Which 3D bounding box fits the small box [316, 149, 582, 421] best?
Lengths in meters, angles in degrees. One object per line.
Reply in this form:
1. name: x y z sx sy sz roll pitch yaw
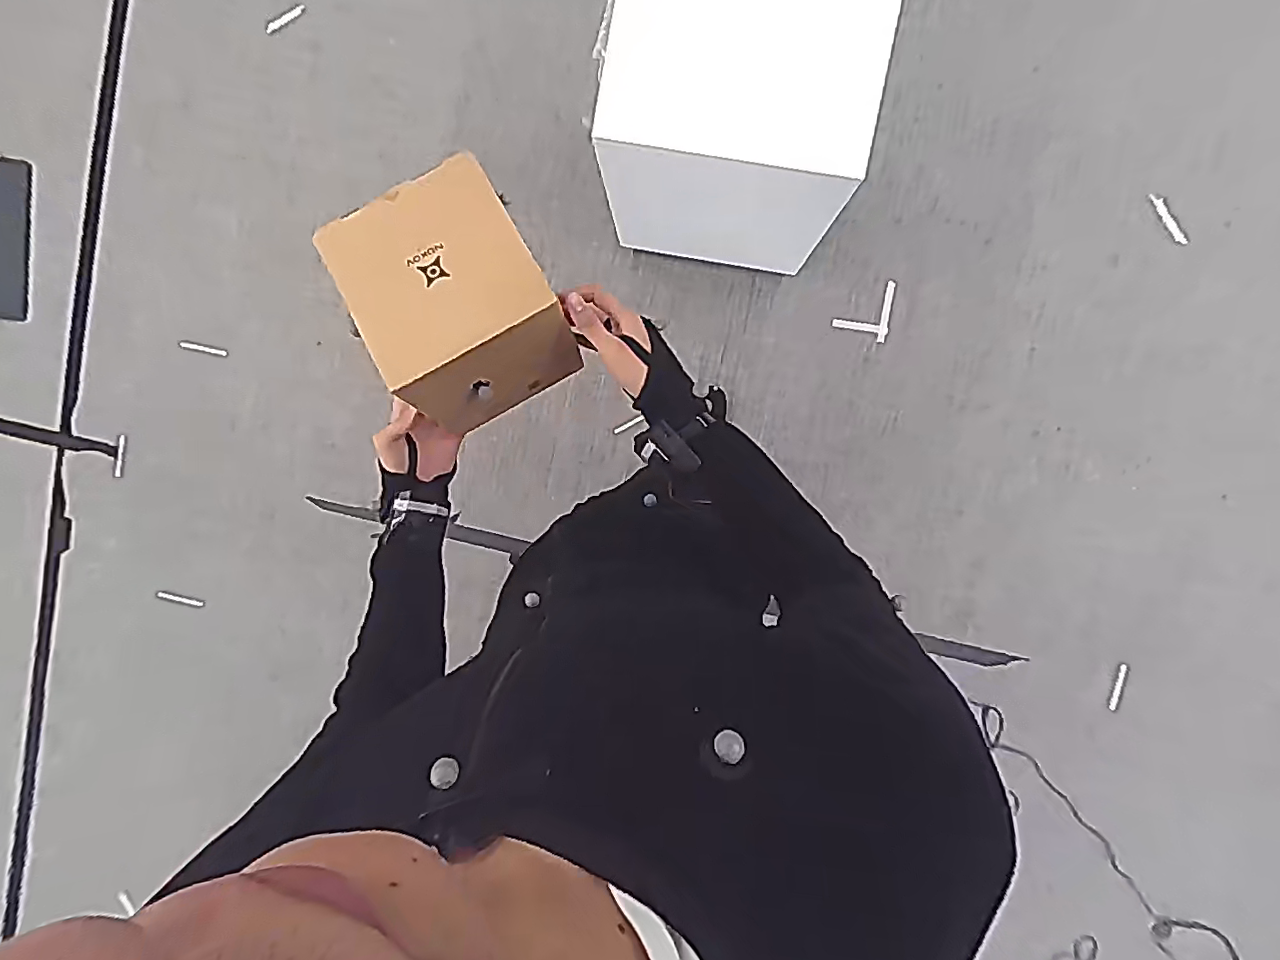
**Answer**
1. small box: -0.175 -0.176 0.552 0.168 0.176 0.179 -30 81 -2
